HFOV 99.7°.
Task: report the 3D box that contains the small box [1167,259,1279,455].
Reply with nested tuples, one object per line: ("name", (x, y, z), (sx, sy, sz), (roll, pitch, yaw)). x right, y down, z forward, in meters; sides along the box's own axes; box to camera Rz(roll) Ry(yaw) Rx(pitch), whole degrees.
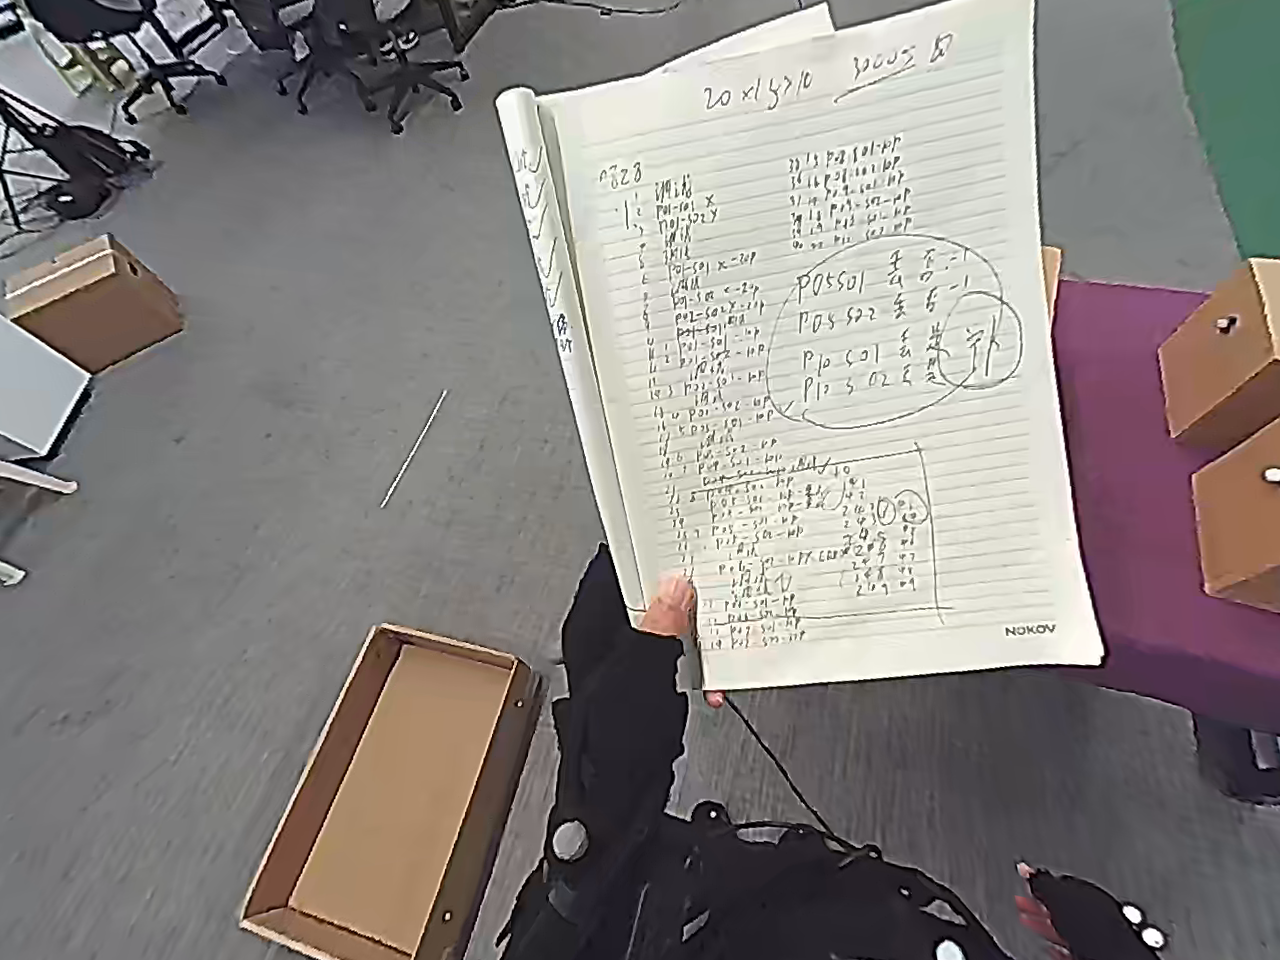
("small box", (0.818, -0.143, 0.680), (0.168, 0.176, 0.179), (13, 64, 16))

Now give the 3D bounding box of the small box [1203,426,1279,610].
("small box", (0.764, 0.050, 0.579), (0.168, 0.176, 0.179), (16, 65, 17))
